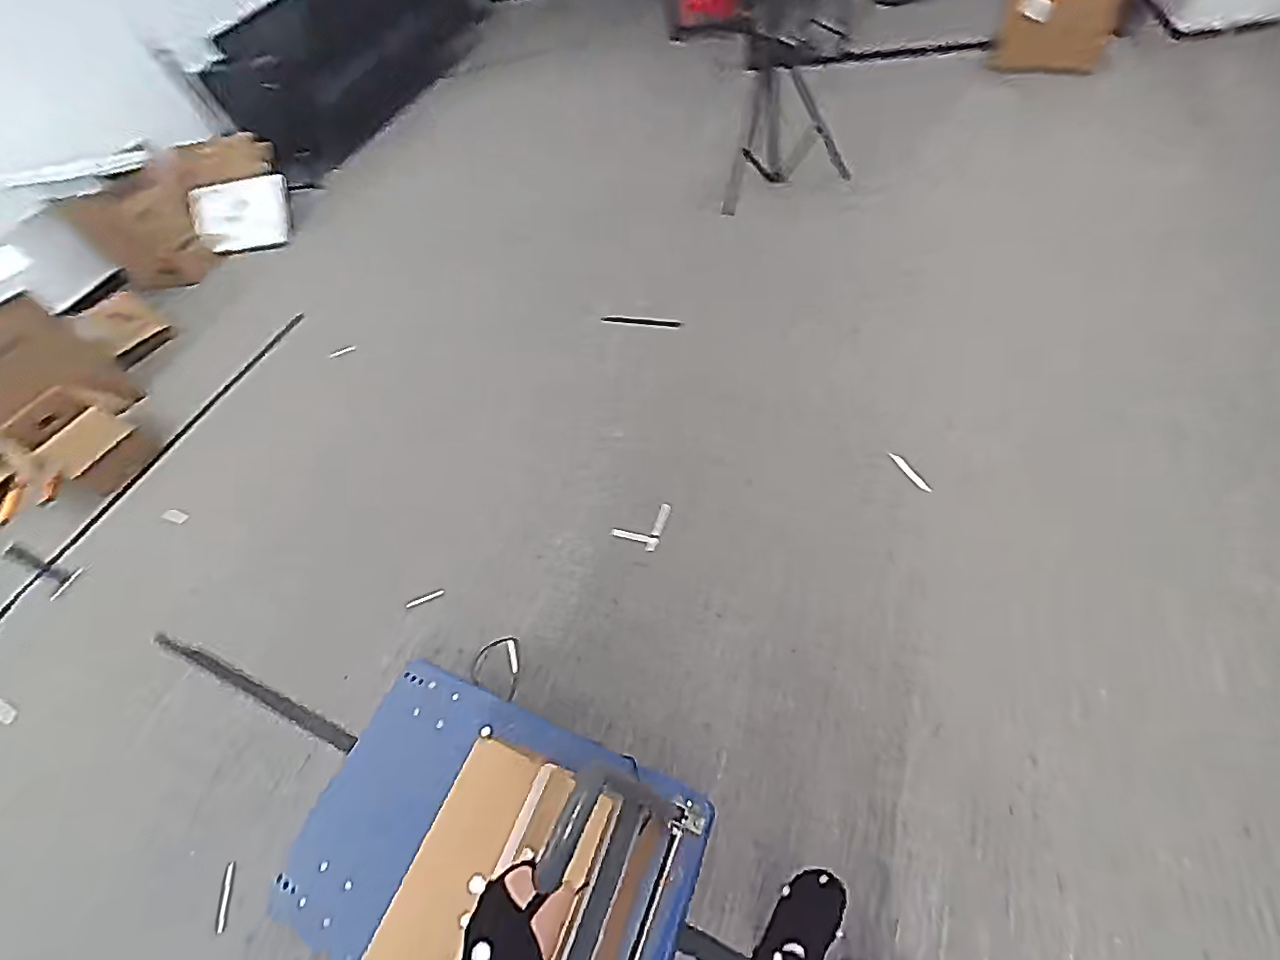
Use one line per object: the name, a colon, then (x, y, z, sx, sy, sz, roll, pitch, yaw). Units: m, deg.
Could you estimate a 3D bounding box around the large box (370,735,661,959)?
large box: (-0.197, 0.755, 0.981, 0.320, 0.320, 0.408, 14, 59, 23)
